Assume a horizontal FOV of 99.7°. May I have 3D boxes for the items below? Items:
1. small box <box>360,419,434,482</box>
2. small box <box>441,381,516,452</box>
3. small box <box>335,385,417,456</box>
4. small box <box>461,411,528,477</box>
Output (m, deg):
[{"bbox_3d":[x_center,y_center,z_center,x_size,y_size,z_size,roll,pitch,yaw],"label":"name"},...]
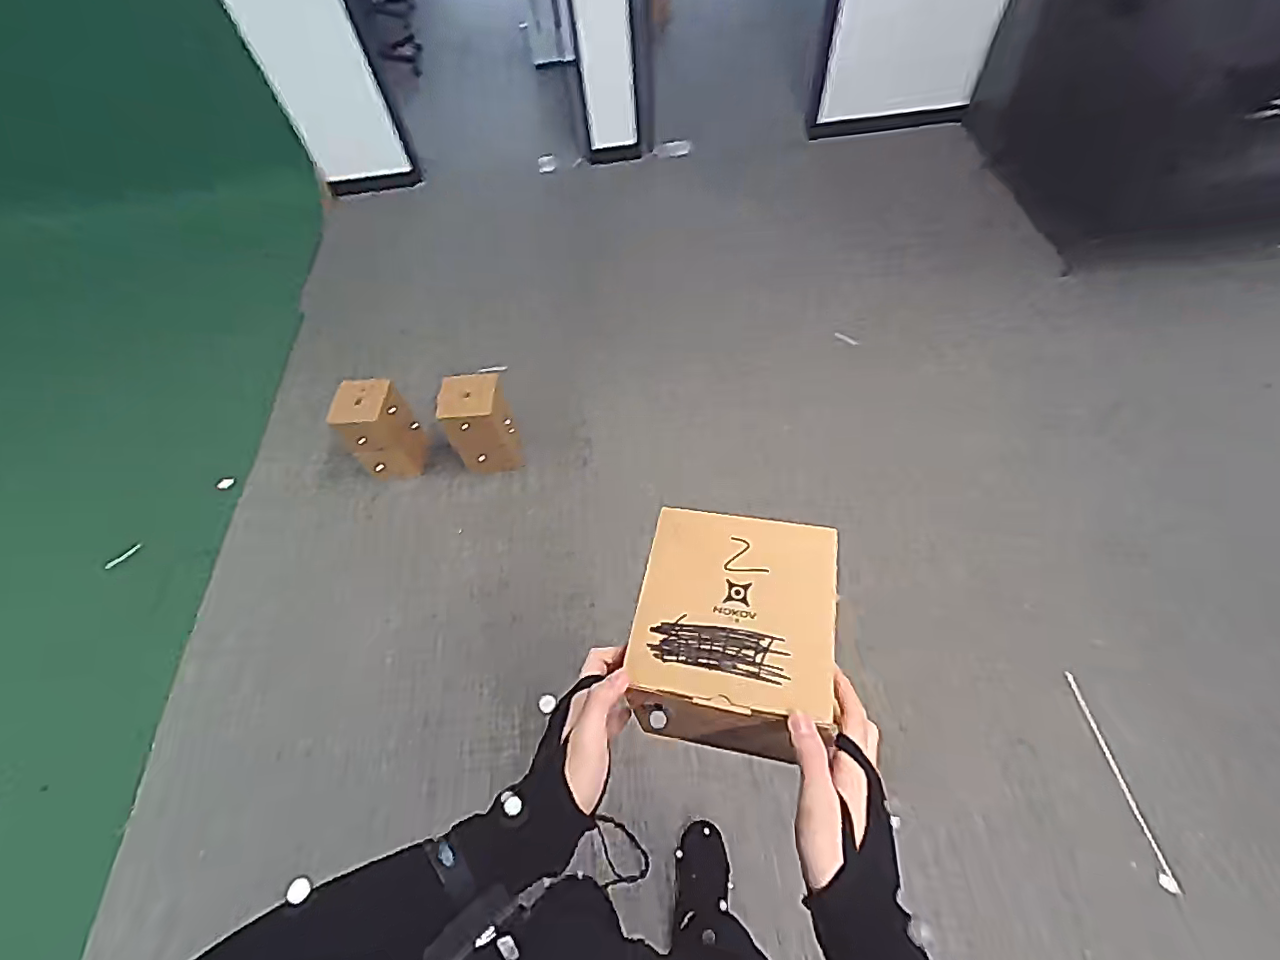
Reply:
[{"bbox_3d":[-0.851,-0.101,1.917,0.168,0.176,0.179,-2,56,3],"label":"small box"},{"bbox_3d":[-0.518,-0.202,1.758,0.179,0.176,0.168,-2,58,3],"label":"small box"},{"bbox_3d":[-0.859,-0.192,1.778,0.168,0.176,0.179,-1,57,4],"label":"small box"},{"bbox_3d":[-0.508,-0.123,1.901,0.179,0.176,0.168,-5,58,2],"label":"small box"}]
